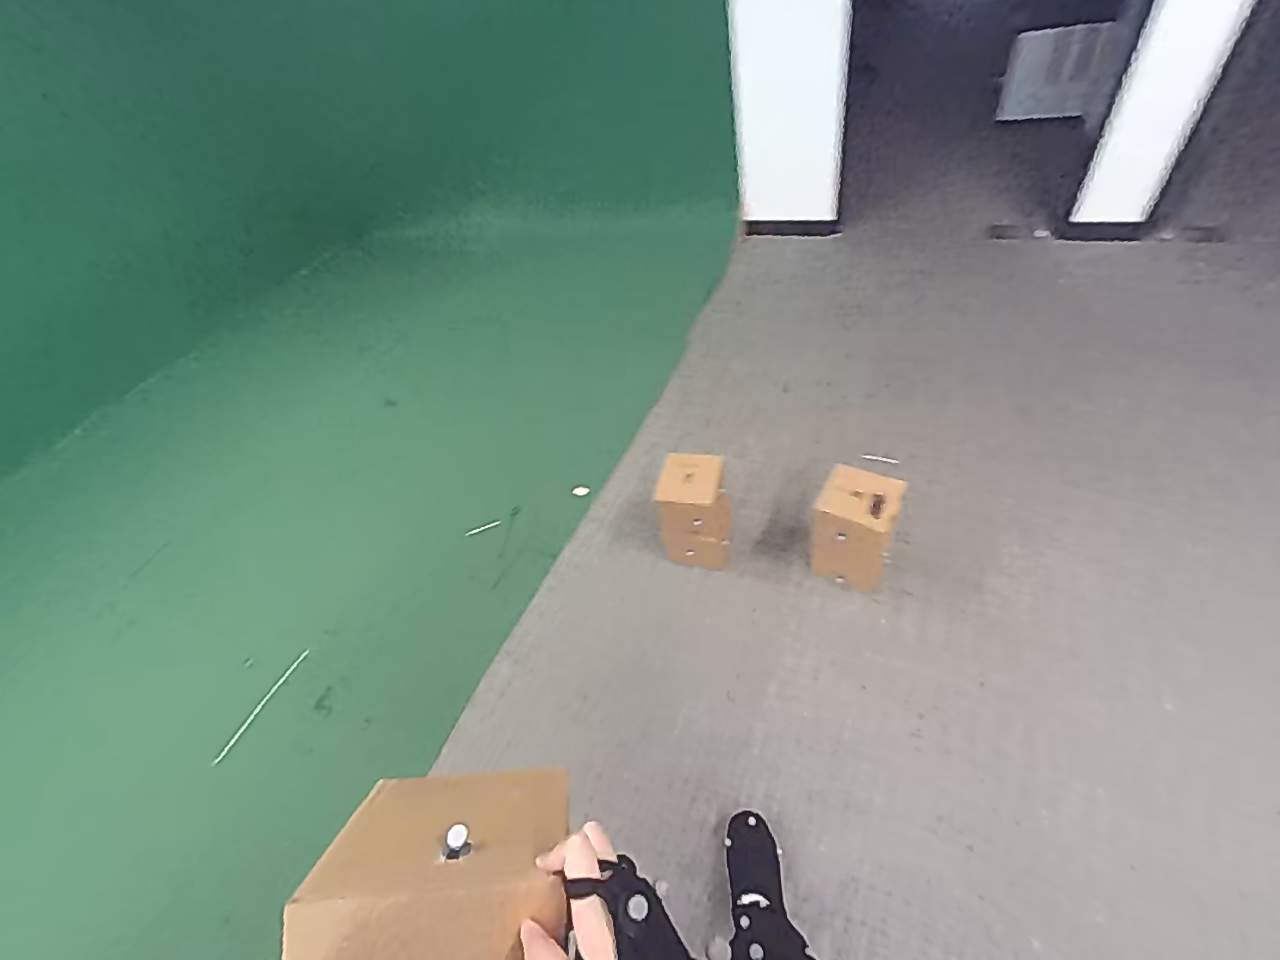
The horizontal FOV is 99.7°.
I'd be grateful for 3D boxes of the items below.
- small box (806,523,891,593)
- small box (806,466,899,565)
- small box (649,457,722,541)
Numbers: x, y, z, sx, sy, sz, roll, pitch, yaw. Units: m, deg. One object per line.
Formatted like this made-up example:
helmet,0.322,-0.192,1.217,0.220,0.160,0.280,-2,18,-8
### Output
small box,0.585,0.197,1.532,0.179,0.176,0.168,20,58,28
small box,0.548,0.097,1.405,0.179,0.176,0.168,20,58,30
small box,0.138,0.056,1.554,0.168,0.176,0.179,5,51,18
